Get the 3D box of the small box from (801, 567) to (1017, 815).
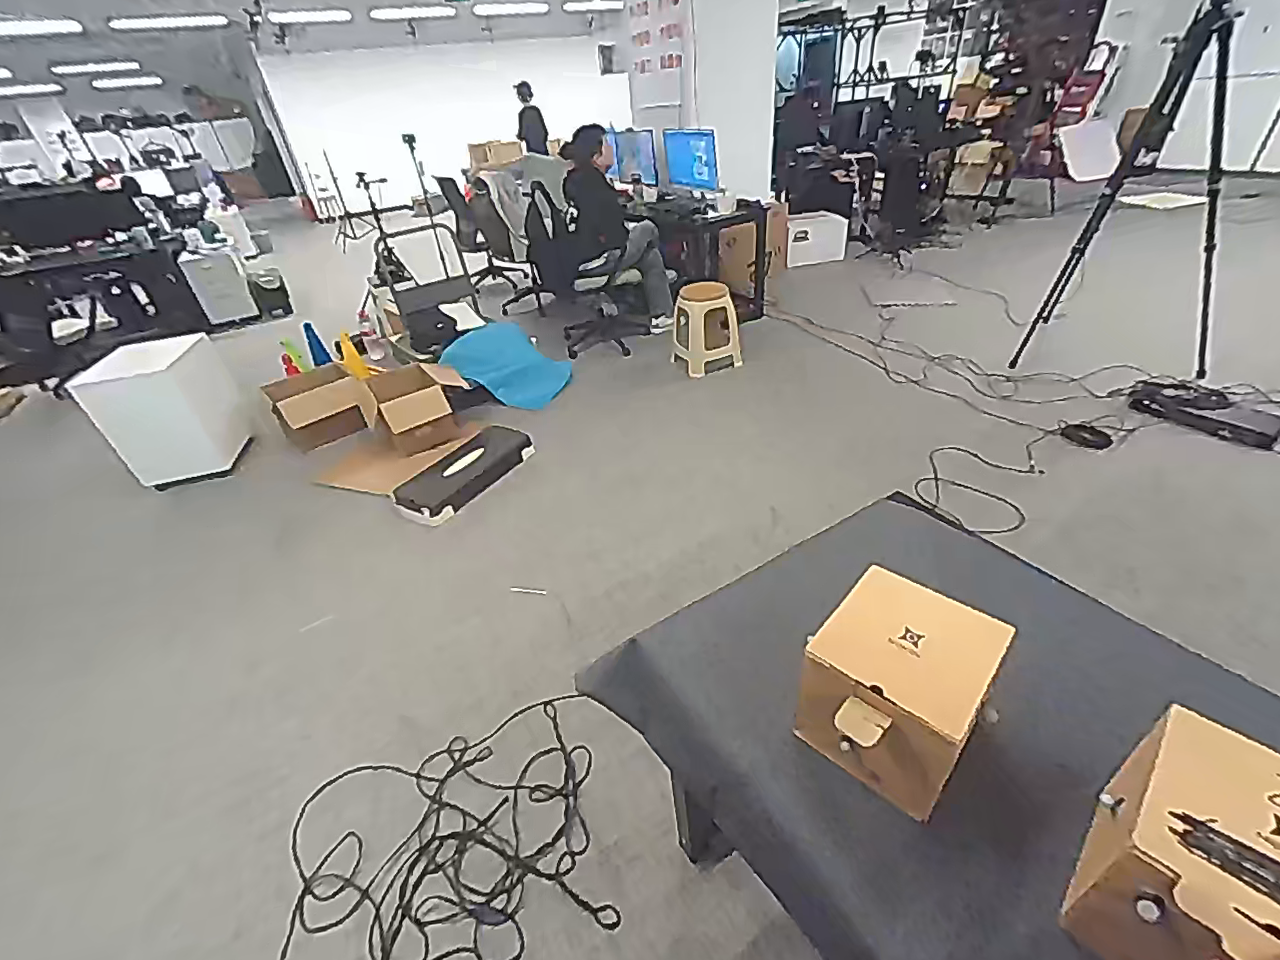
[{"bbox_3d":[0.307,0.243,0.644,0.168,0.176,0.179,26,47,37],"label":"small box"}]
